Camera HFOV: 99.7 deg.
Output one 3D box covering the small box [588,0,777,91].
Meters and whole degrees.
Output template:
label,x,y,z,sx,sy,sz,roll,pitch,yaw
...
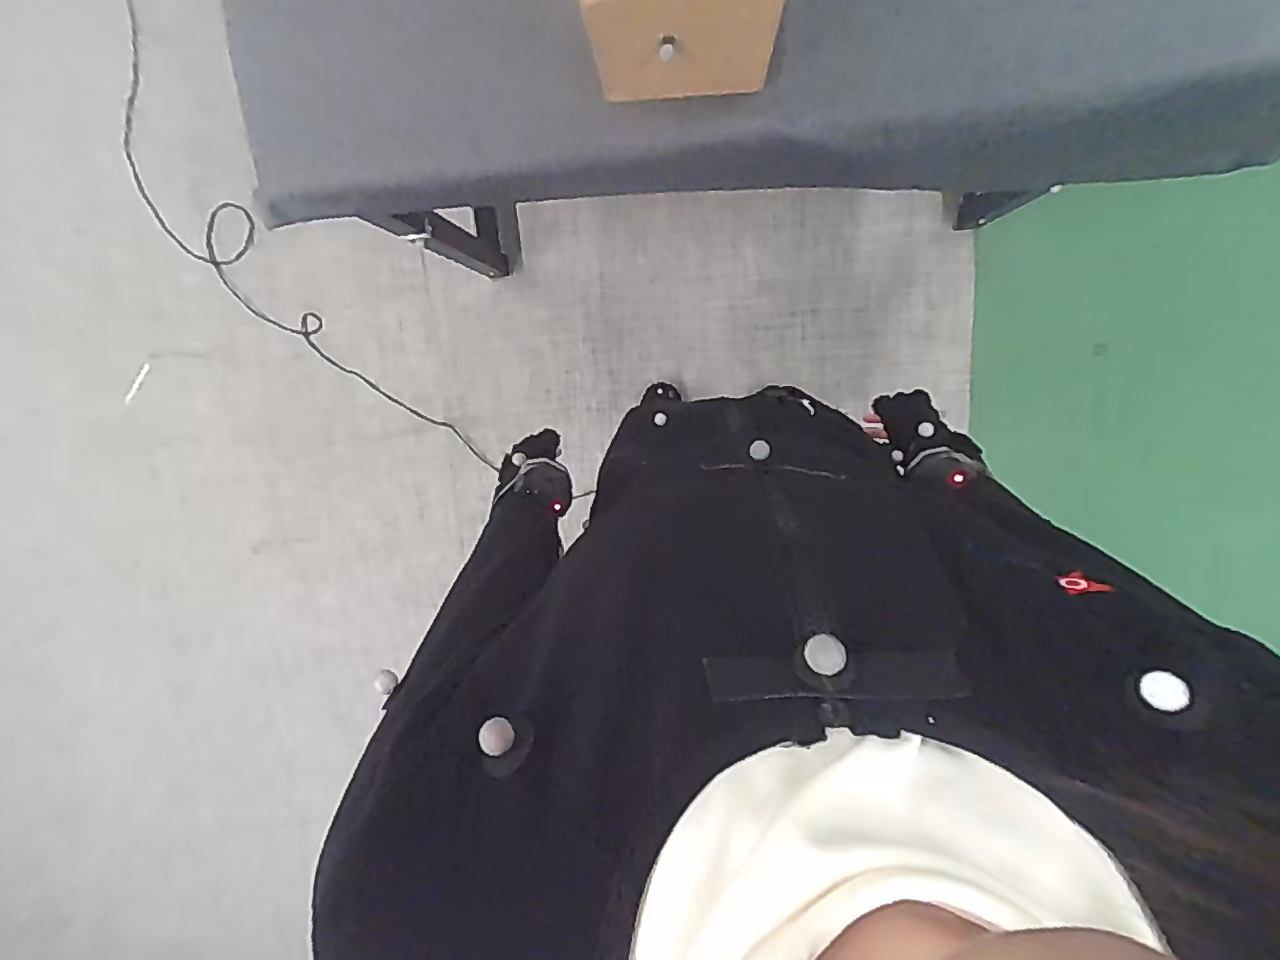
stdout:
label,x,y,z,sx,sy,sz,roll,pitch,yaw
small box,0.041,-0.501,0.511,0.179,0.176,0.168,0,101,5
